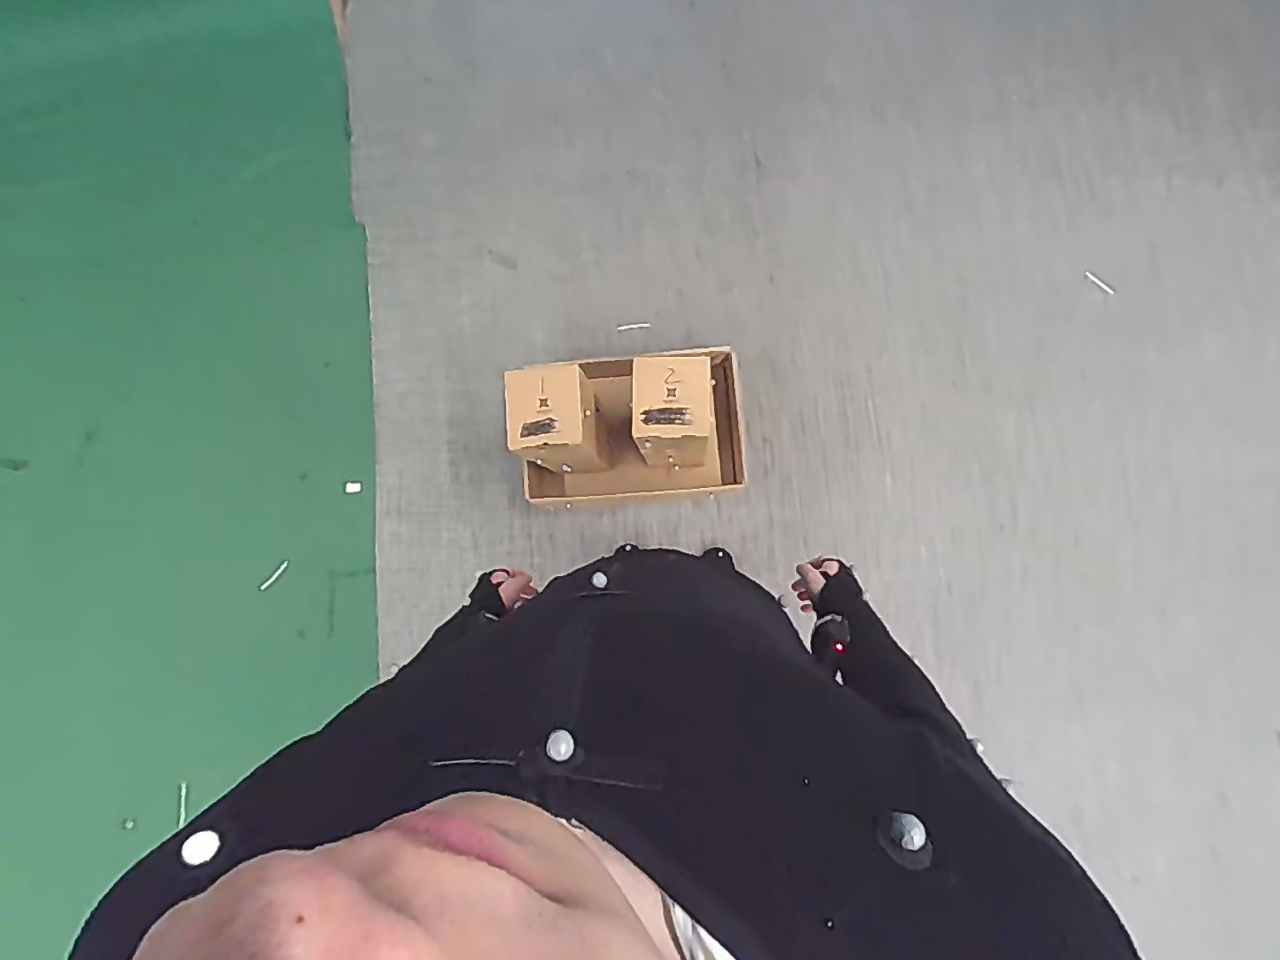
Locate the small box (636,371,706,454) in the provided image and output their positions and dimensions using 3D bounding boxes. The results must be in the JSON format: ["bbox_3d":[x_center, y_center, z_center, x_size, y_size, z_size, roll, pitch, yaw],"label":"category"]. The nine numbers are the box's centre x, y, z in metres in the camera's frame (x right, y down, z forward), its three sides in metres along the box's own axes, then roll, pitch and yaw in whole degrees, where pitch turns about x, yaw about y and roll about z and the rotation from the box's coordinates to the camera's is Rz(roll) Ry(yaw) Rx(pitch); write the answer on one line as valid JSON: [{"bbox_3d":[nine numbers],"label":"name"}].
[{"bbox_3d":[0.078,-0.167,1.378,0.168,0.176,0.179,-3,85,4],"label":"small box"}]

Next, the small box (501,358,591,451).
[{"bbox_3d":[-0.207,-0.162,1.230,0.168,0.176,0.179,-4,83,3],"label":"small box"}]

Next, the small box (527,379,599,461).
[{"bbox_3d":[-0.197,-0.150,1.394,0.168,0.176,0.179,-2,84,3],"label":"small box"}]

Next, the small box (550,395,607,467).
[{"bbox_3d":[-0.188,-0.137,1.555,0.168,0.176,0.179,-2,84,4],"label":"small box"}]
